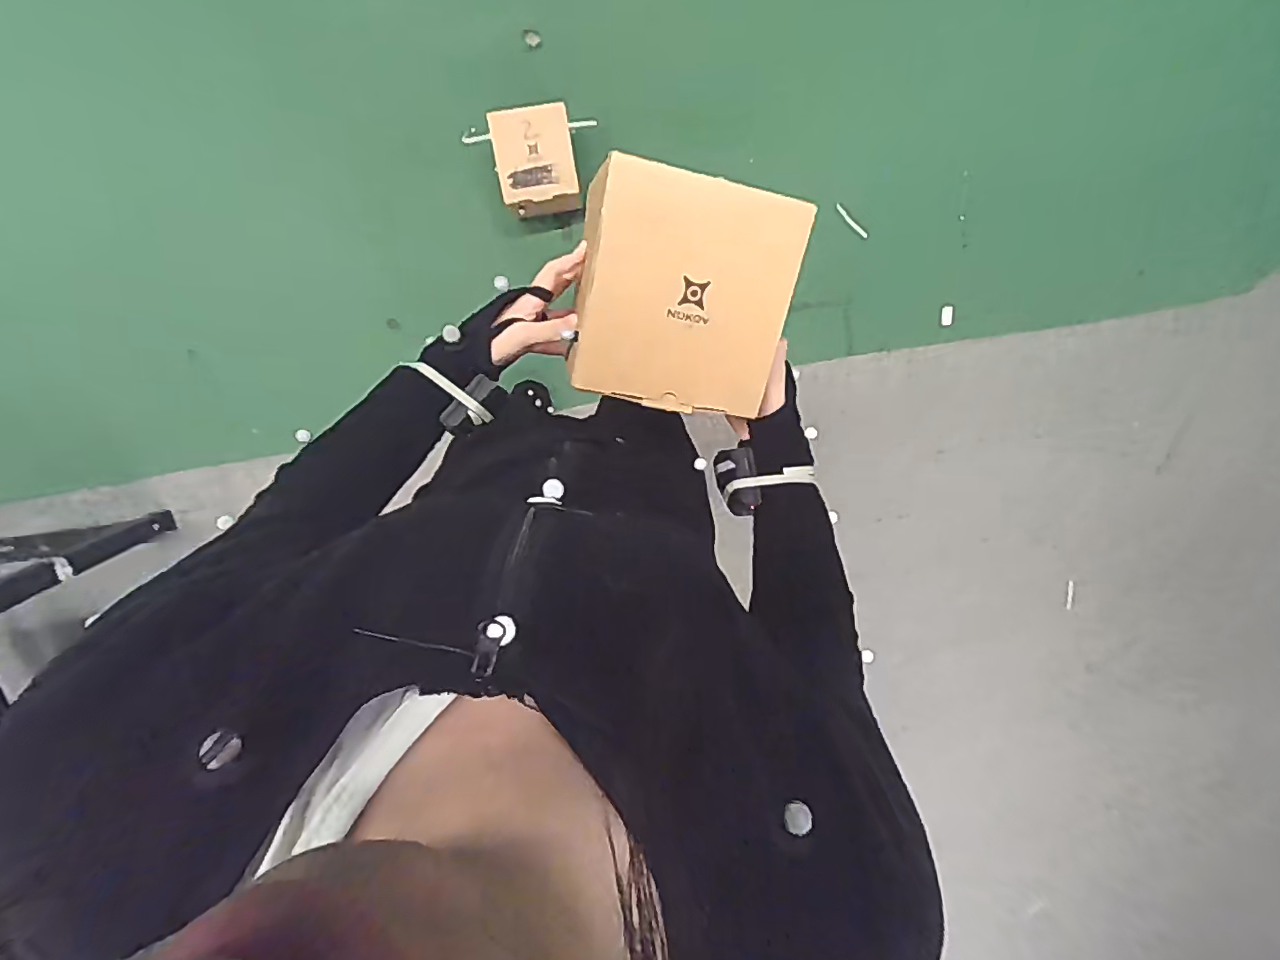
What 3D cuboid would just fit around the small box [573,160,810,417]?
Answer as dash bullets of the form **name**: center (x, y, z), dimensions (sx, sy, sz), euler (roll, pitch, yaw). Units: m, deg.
- **small box**: center (0.029, -0.174, 0.511), dimensions (0.168, 0.176, 0.179), euler (6, 111, -12)
